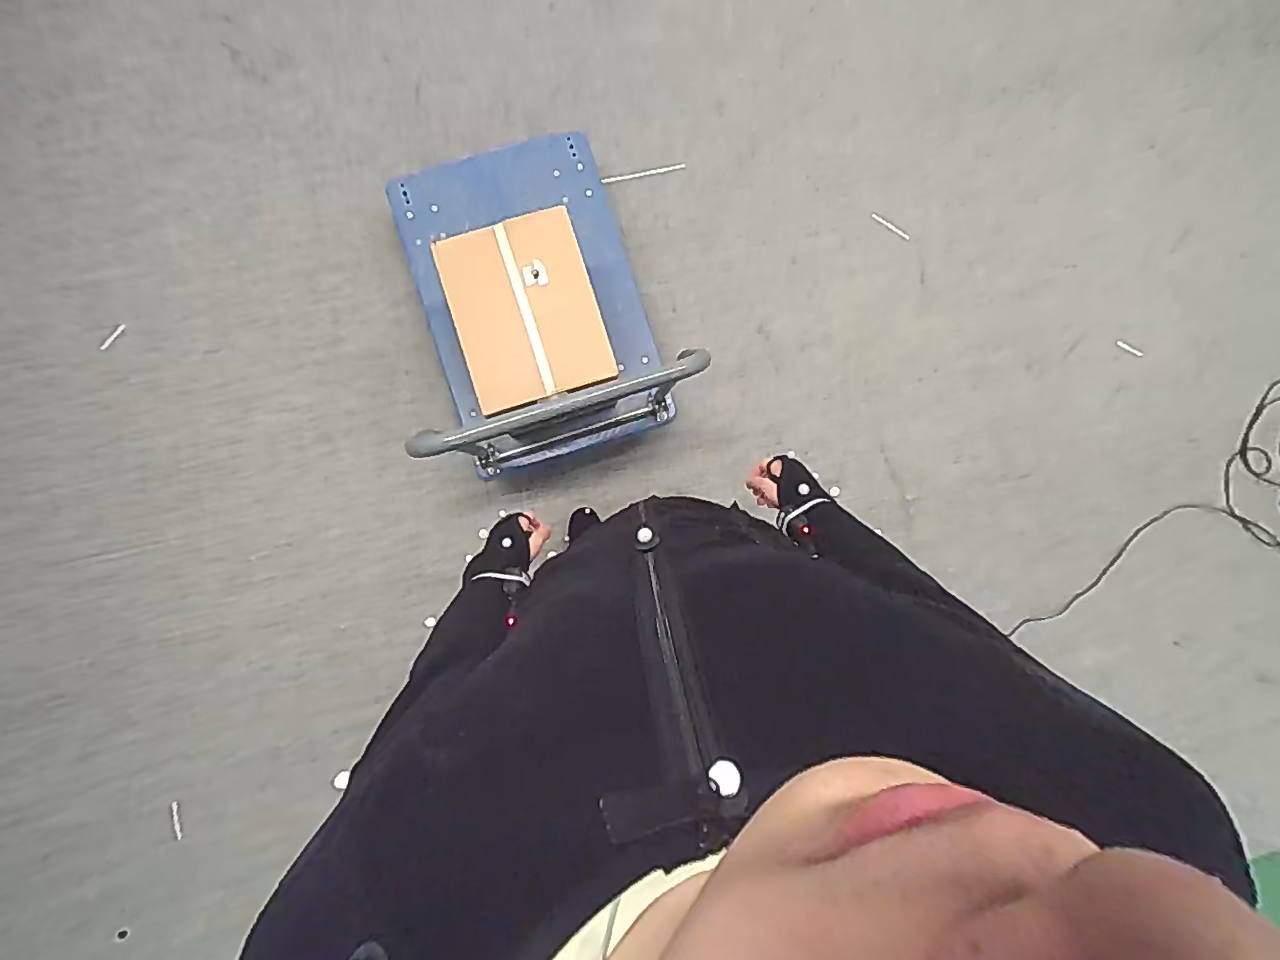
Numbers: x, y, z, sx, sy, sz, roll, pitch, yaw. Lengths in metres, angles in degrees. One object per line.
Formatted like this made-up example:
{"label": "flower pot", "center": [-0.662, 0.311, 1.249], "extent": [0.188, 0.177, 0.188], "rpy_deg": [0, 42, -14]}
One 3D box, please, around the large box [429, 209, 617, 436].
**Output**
{"label": "large box", "center": [-0.263, -0.361, 1.331], "extent": [0.320, 0.320, 0.408], "rpy_deg": [-18, 87, -5]}
